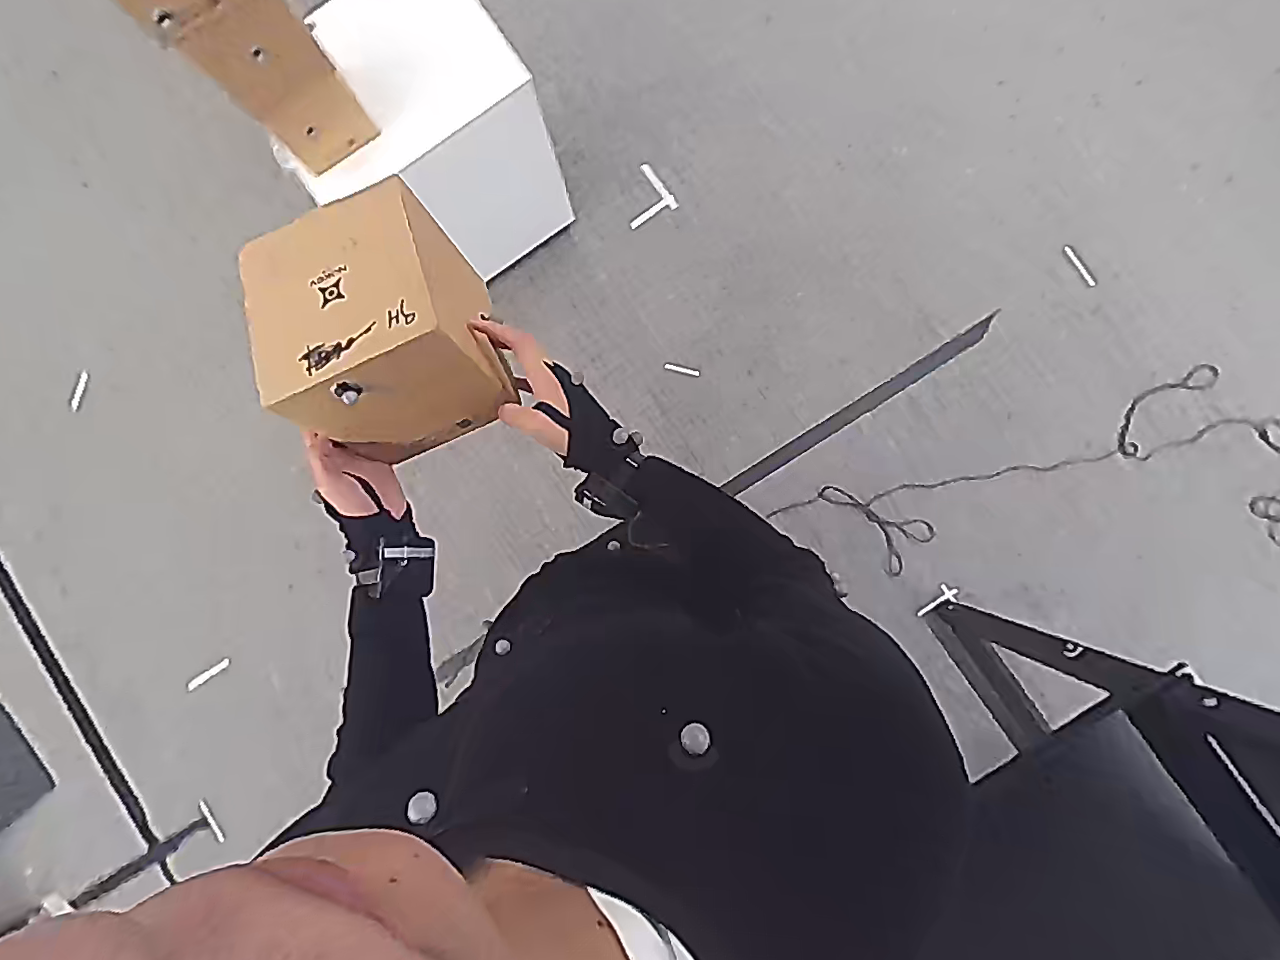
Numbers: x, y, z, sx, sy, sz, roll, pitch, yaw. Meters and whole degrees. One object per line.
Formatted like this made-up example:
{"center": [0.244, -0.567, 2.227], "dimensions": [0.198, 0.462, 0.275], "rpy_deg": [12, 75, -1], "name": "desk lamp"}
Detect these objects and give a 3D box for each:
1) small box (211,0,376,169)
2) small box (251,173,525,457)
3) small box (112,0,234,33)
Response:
{"center": [-0.649, -0.738, 1.036], "dimensions": [0.168, 0.176, 0.179], "rpy_deg": [-34, 86, 1], "name": "small box"}
{"center": [-0.235, -0.147, 0.533], "dimensions": [0.168, 0.176, 0.179], "rpy_deg": [-22, 72, 5], "name": "small box"}
{"center": [-0.670, -0.743, 0.707], "dimensions": [0.168, 0.176, 0.179], "rpy_deg": [-31, 85, 2], "name": "small box"}
